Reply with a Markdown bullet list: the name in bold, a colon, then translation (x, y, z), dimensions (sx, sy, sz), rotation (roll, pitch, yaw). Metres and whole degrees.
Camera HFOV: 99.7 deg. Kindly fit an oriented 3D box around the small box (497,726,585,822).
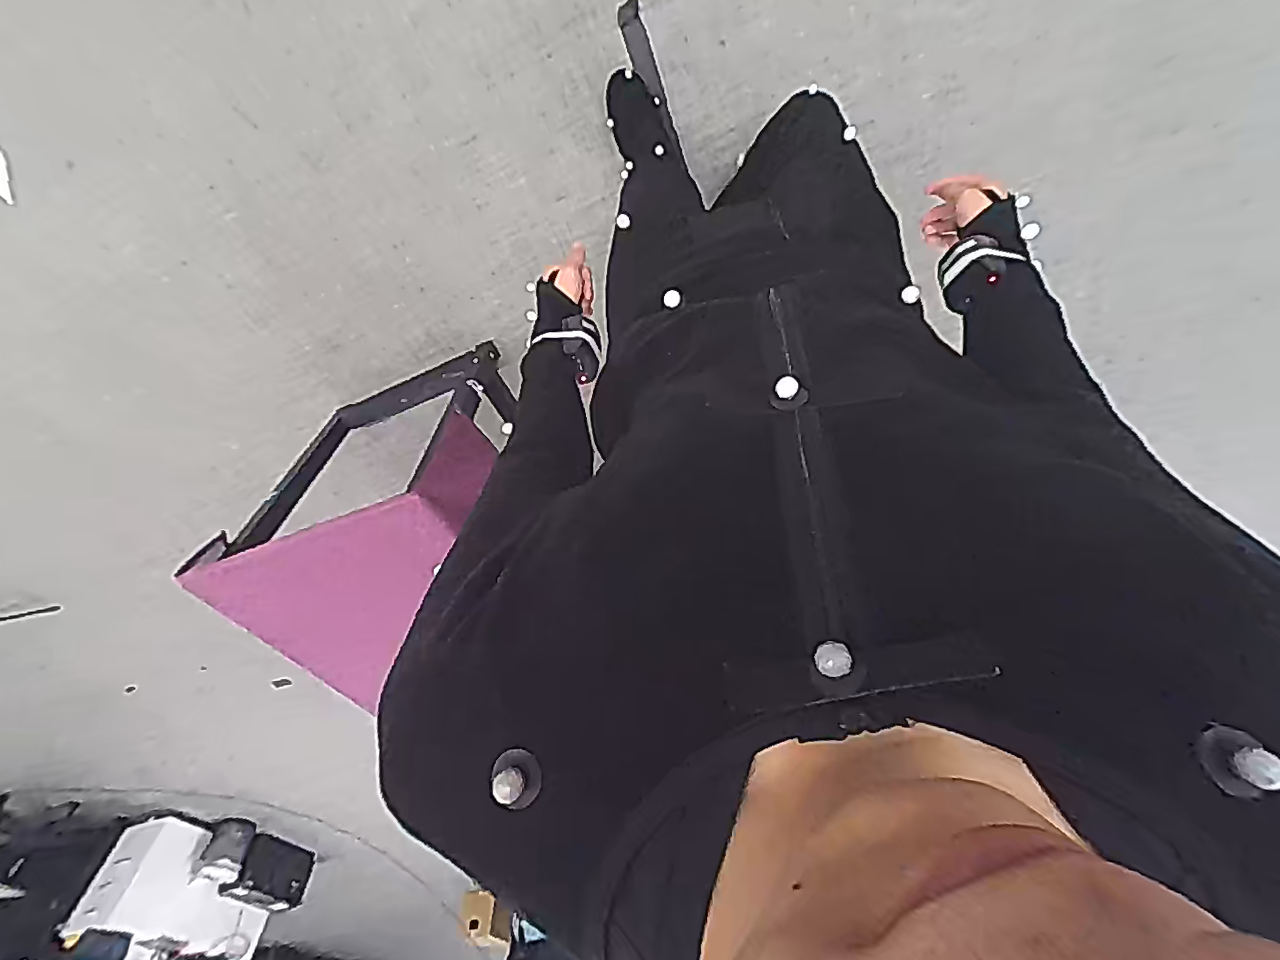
- **small box**: translation (-0.268, 0.821, 1.511), dimensions (0.179, 0.176, 0.168), rotation (-27, 124, 18)
